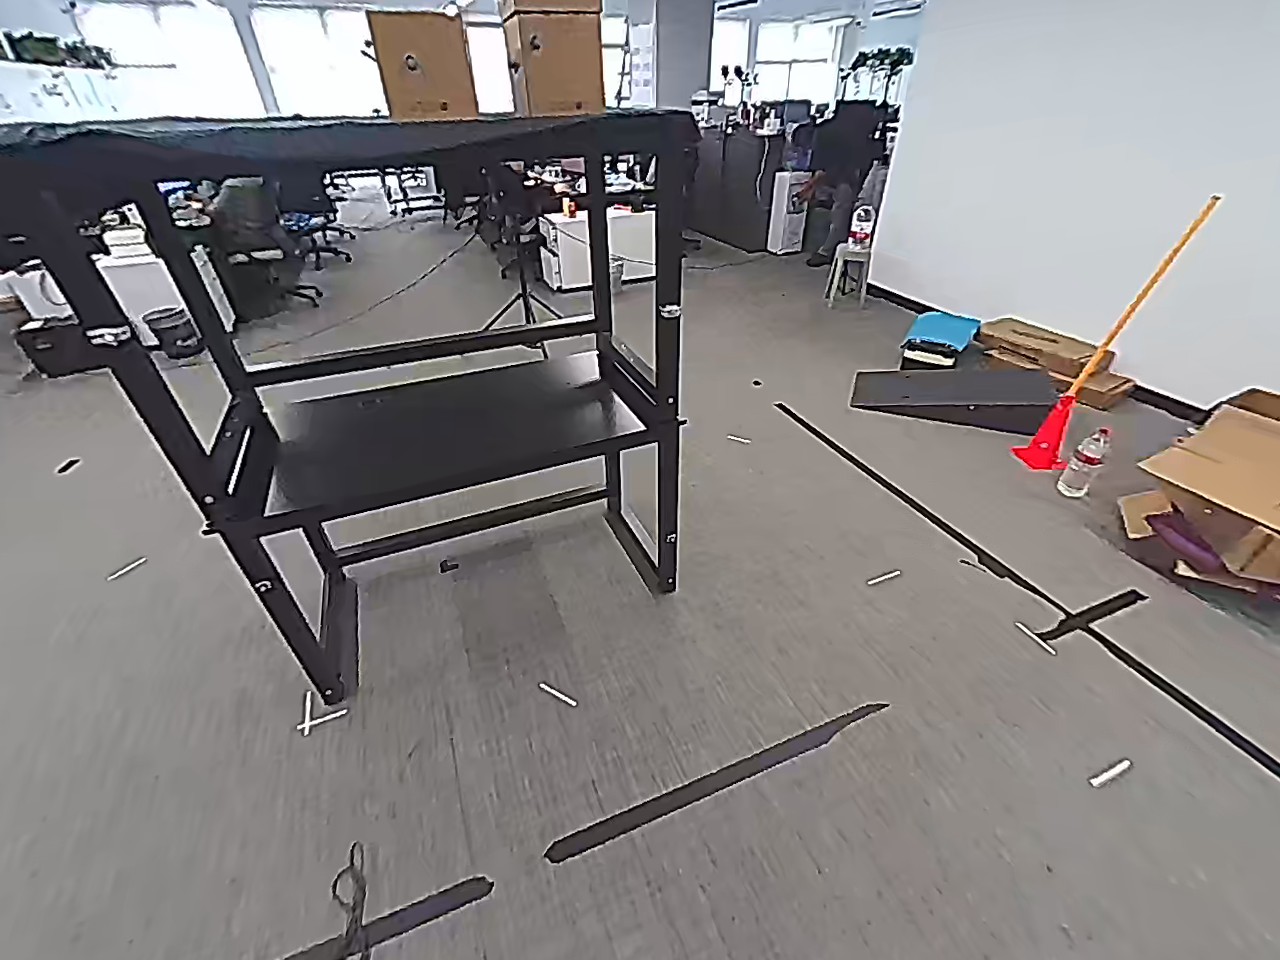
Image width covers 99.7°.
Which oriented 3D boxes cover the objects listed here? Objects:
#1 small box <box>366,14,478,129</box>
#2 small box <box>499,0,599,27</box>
[{"bbox_3d":[-0.426,-0.803,1.071,0.168,0.176,0.179,-13,36,-15],"label":"small box"},{"bbox_3d":[-0.182,-0.987,1.037,0.179,0.176,0.168,-15,35,-16],"label":"small box"}]
